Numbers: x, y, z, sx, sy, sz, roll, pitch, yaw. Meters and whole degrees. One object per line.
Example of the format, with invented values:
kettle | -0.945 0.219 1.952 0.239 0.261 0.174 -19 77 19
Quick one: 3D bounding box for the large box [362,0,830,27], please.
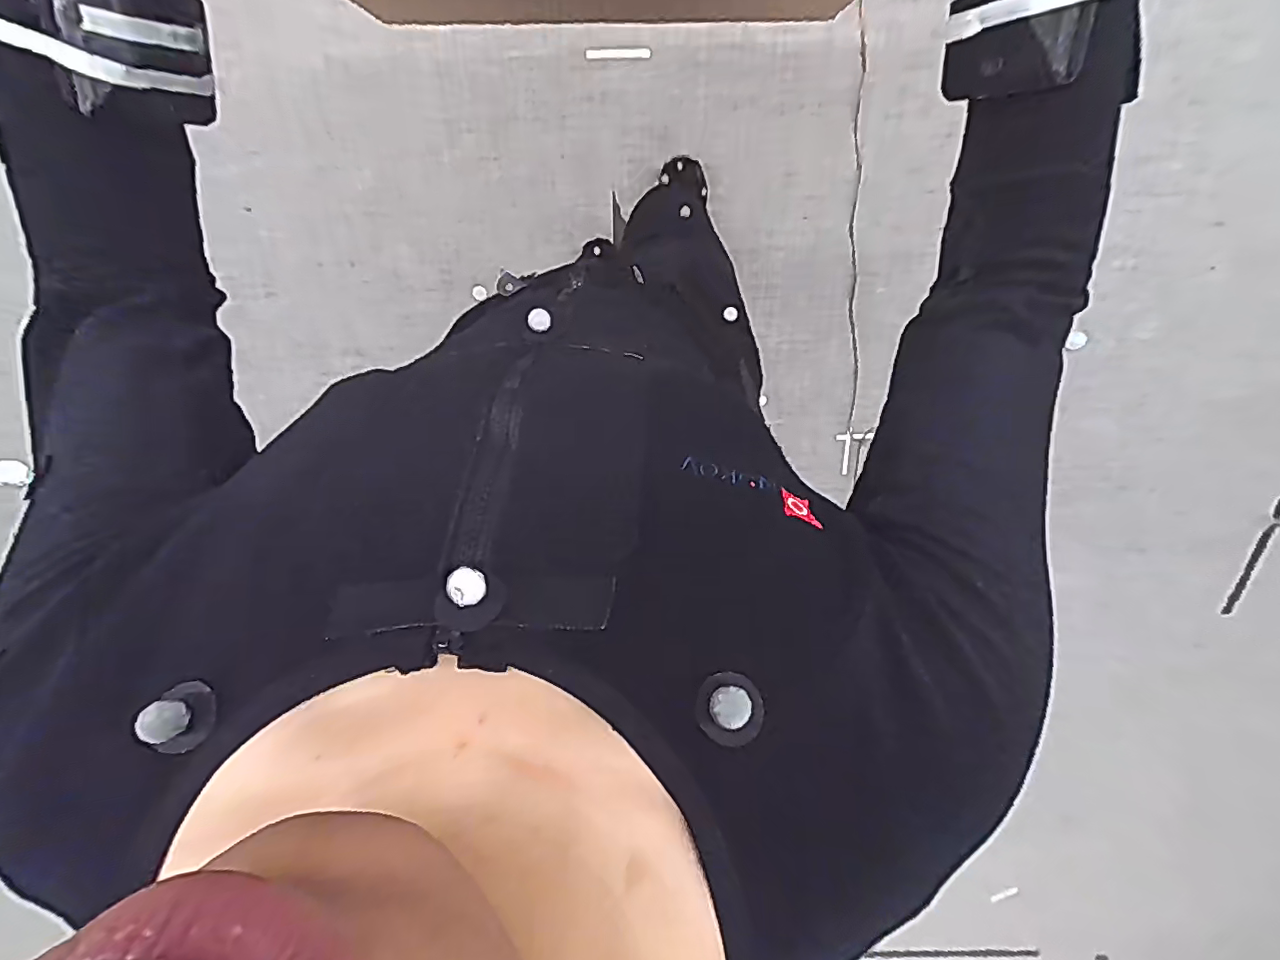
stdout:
large box | -0.032 -0.481 0.284 0.408 0.320 0.320 -1 119 0
